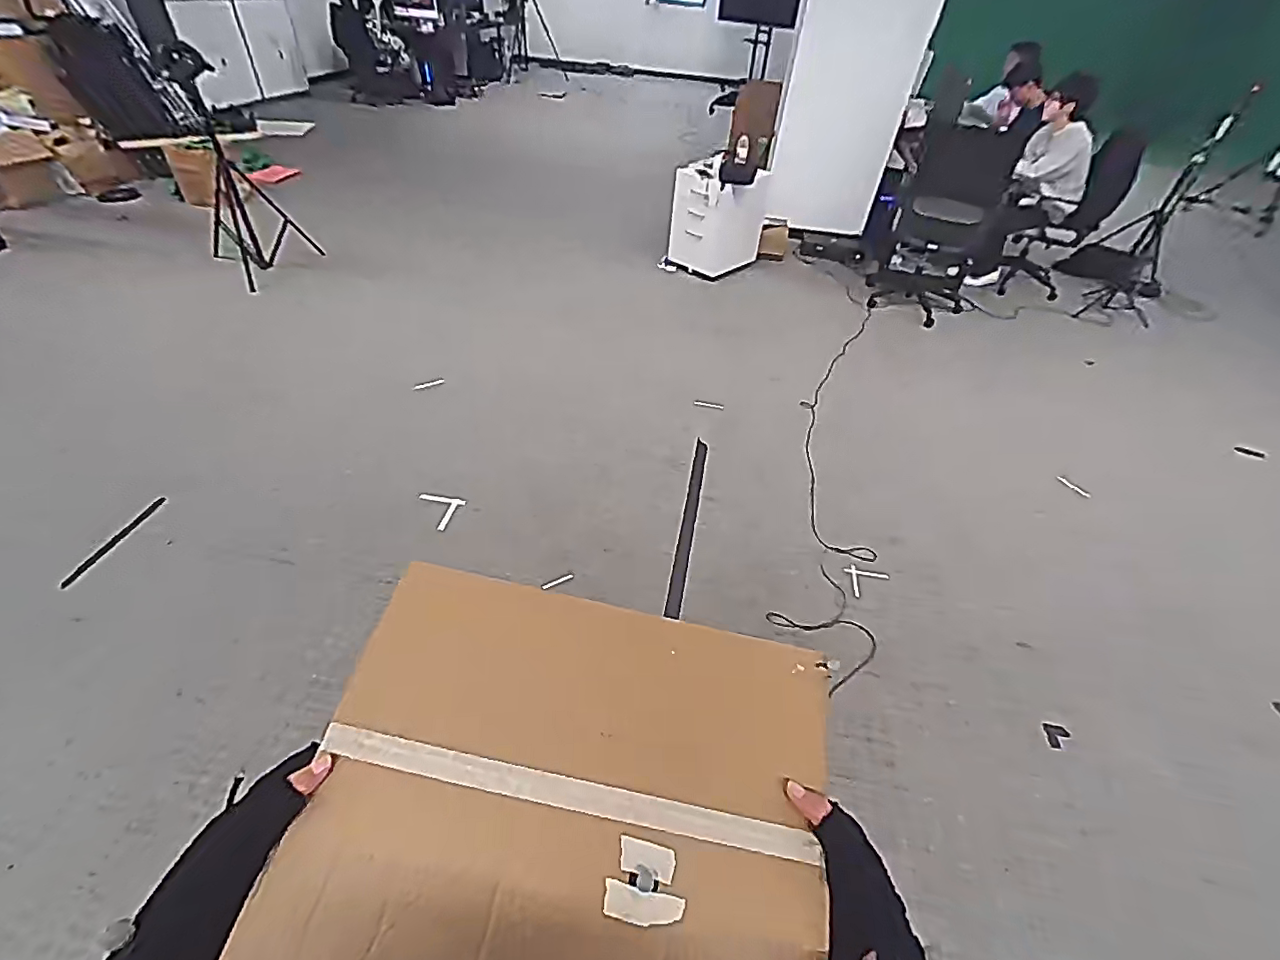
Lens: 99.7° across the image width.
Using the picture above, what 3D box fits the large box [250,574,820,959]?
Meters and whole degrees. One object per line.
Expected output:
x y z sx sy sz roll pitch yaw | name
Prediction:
-0.065 0.335 0.567 0.408 0.320 0.320 13 57 1 | large box
